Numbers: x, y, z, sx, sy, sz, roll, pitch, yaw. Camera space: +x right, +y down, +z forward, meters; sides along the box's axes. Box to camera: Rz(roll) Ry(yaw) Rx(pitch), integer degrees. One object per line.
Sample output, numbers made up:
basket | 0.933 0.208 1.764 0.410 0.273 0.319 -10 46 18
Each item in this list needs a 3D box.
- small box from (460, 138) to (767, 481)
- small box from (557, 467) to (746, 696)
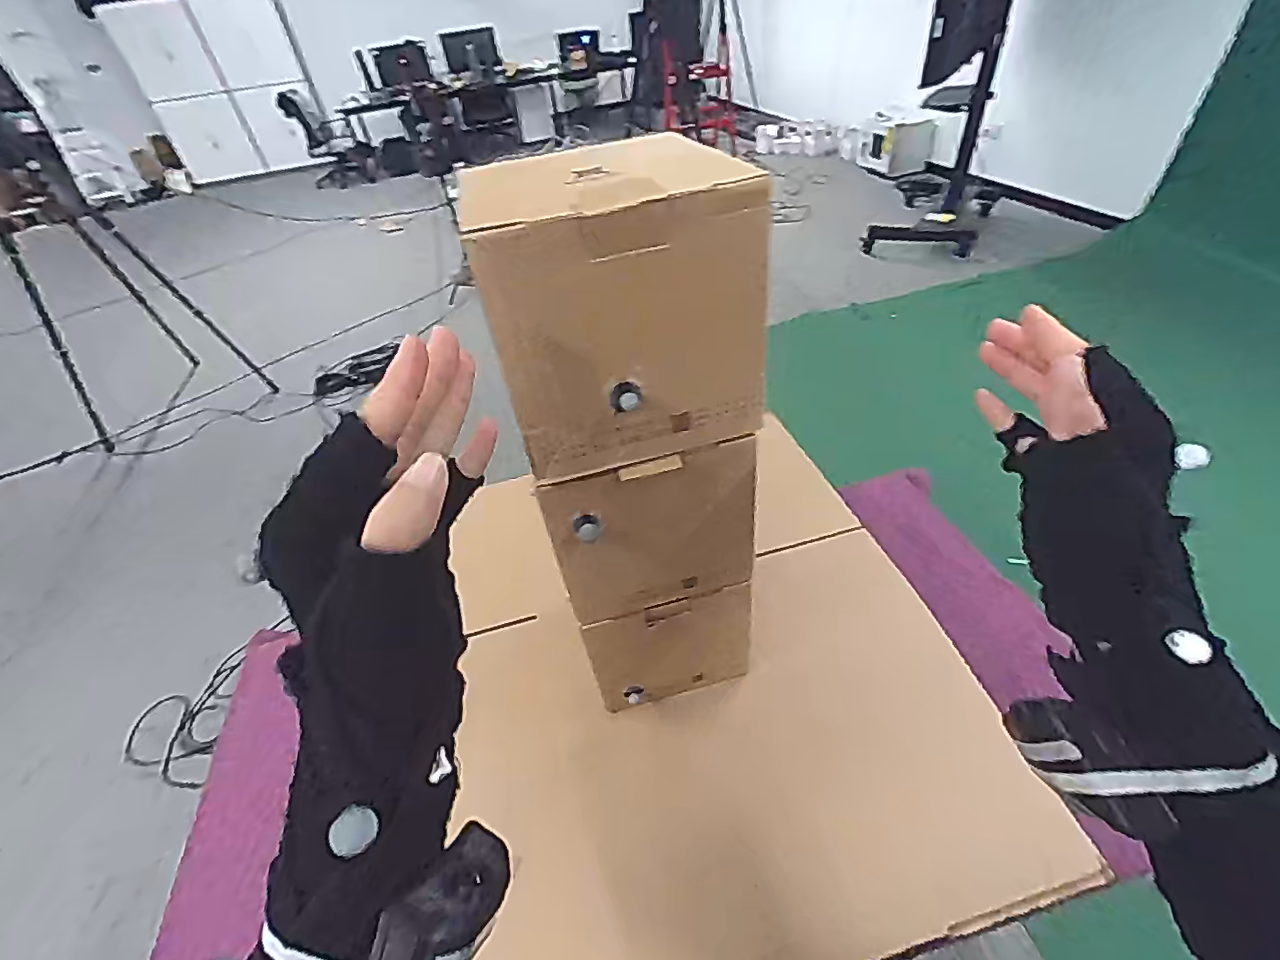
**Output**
small box | -0.023 -0.127 0.391 0.168 0.176 0.179 -15 42 -7
small box | 0.014 0.118 0.606 0.168 0.176 0.179 -14 42 -6
